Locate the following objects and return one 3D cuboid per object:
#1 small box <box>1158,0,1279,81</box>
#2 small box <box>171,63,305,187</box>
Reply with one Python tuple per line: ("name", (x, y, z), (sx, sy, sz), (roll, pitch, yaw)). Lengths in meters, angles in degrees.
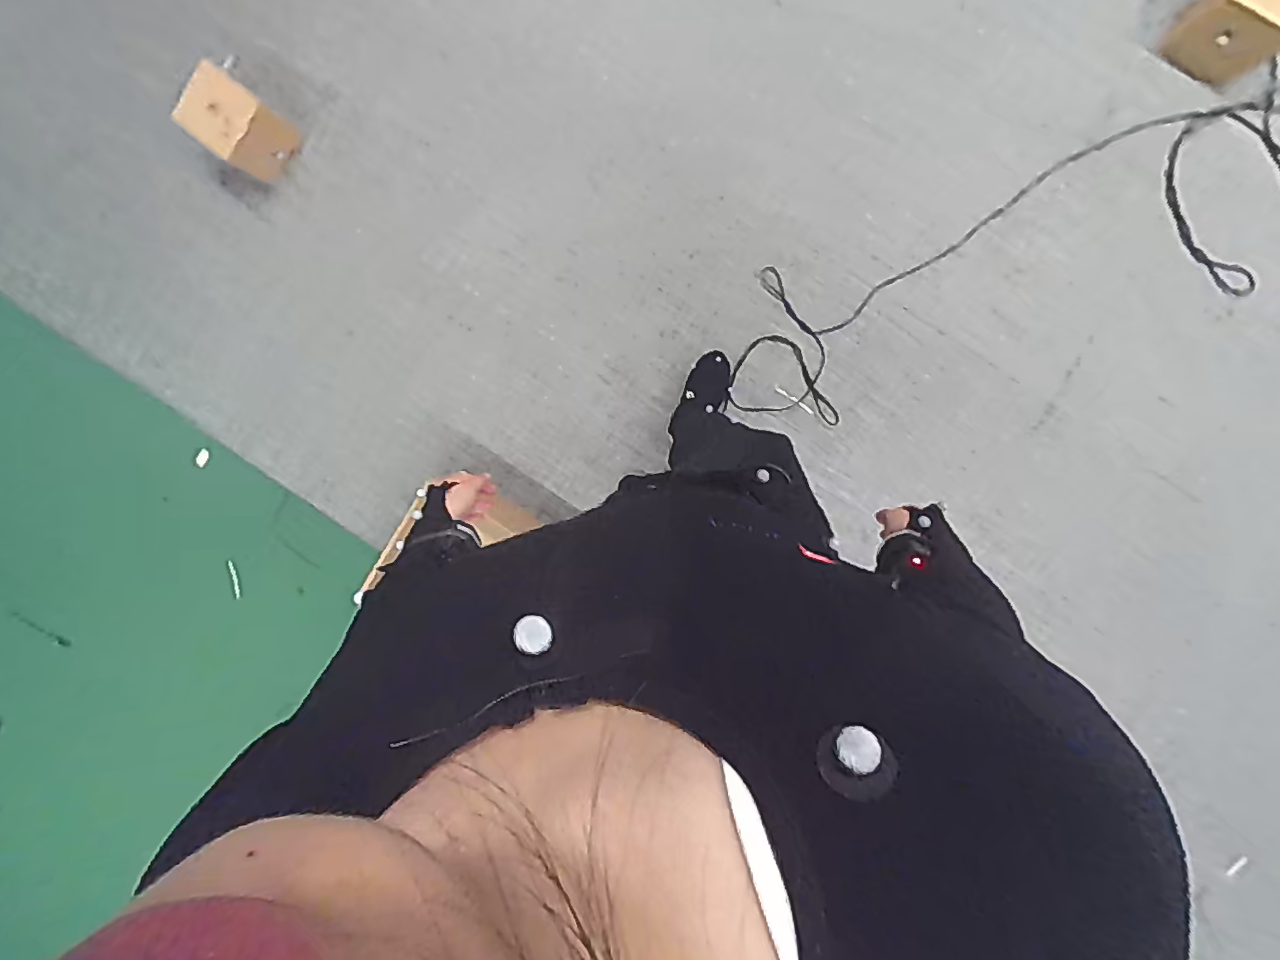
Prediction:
("small box", (1.282, -1.002, 1.146), (0.179, 0.176, 0.168), (31, 99, 2))
("small box", (-1.013, -0.888, 1.376), (0.179, 0.176, 0.168), (39, 99, 0))
